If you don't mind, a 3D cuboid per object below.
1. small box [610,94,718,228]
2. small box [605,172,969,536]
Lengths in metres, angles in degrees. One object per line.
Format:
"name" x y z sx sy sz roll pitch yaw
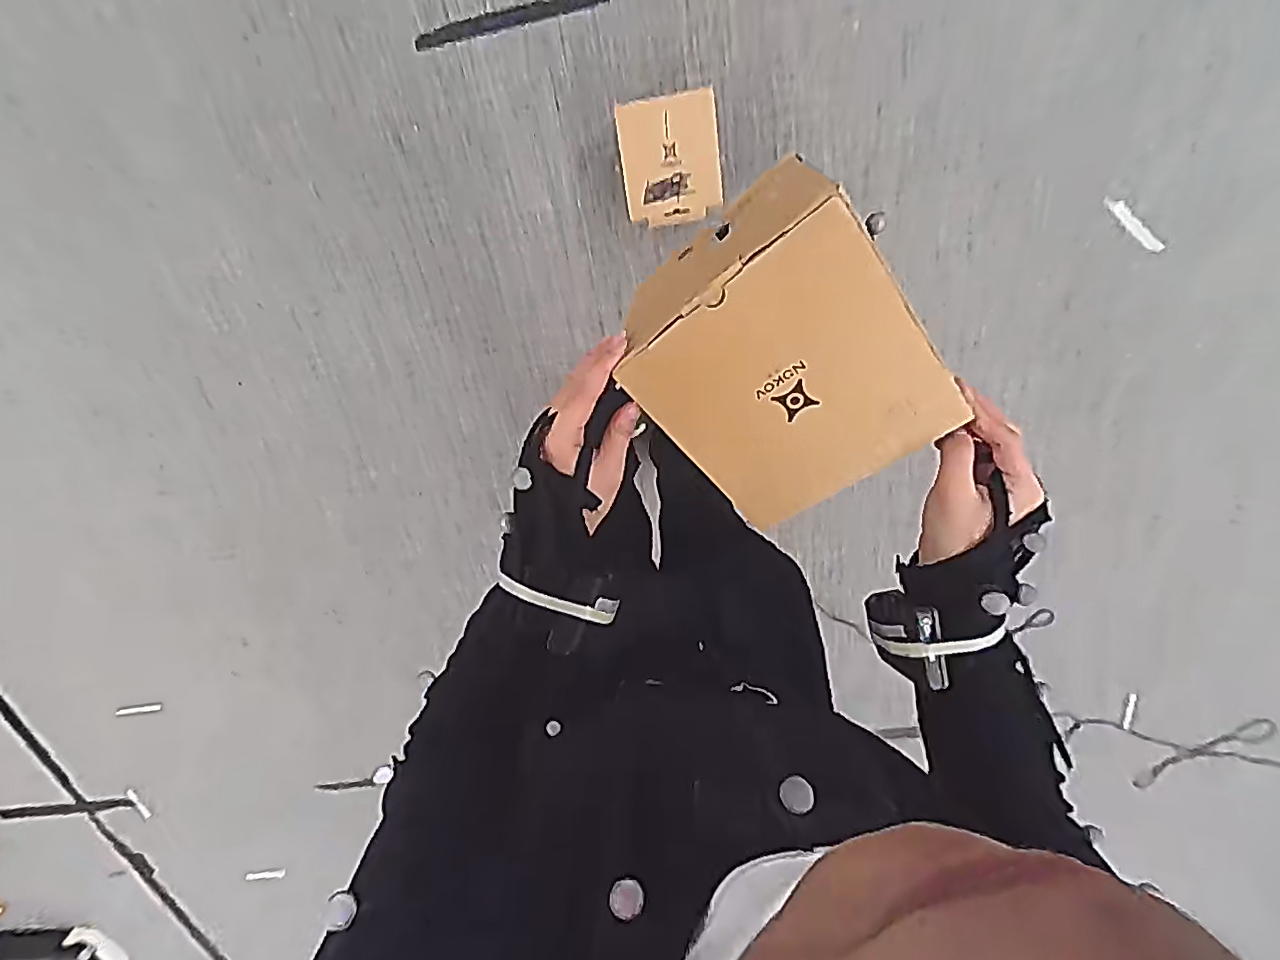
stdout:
"small box" 0.046 -0.561 0.976 0.168 0.176 0.179 -8 112 4
"small box" 0.101 -0.097 0.406 0.168 0.176 0.179 -34 115 26
